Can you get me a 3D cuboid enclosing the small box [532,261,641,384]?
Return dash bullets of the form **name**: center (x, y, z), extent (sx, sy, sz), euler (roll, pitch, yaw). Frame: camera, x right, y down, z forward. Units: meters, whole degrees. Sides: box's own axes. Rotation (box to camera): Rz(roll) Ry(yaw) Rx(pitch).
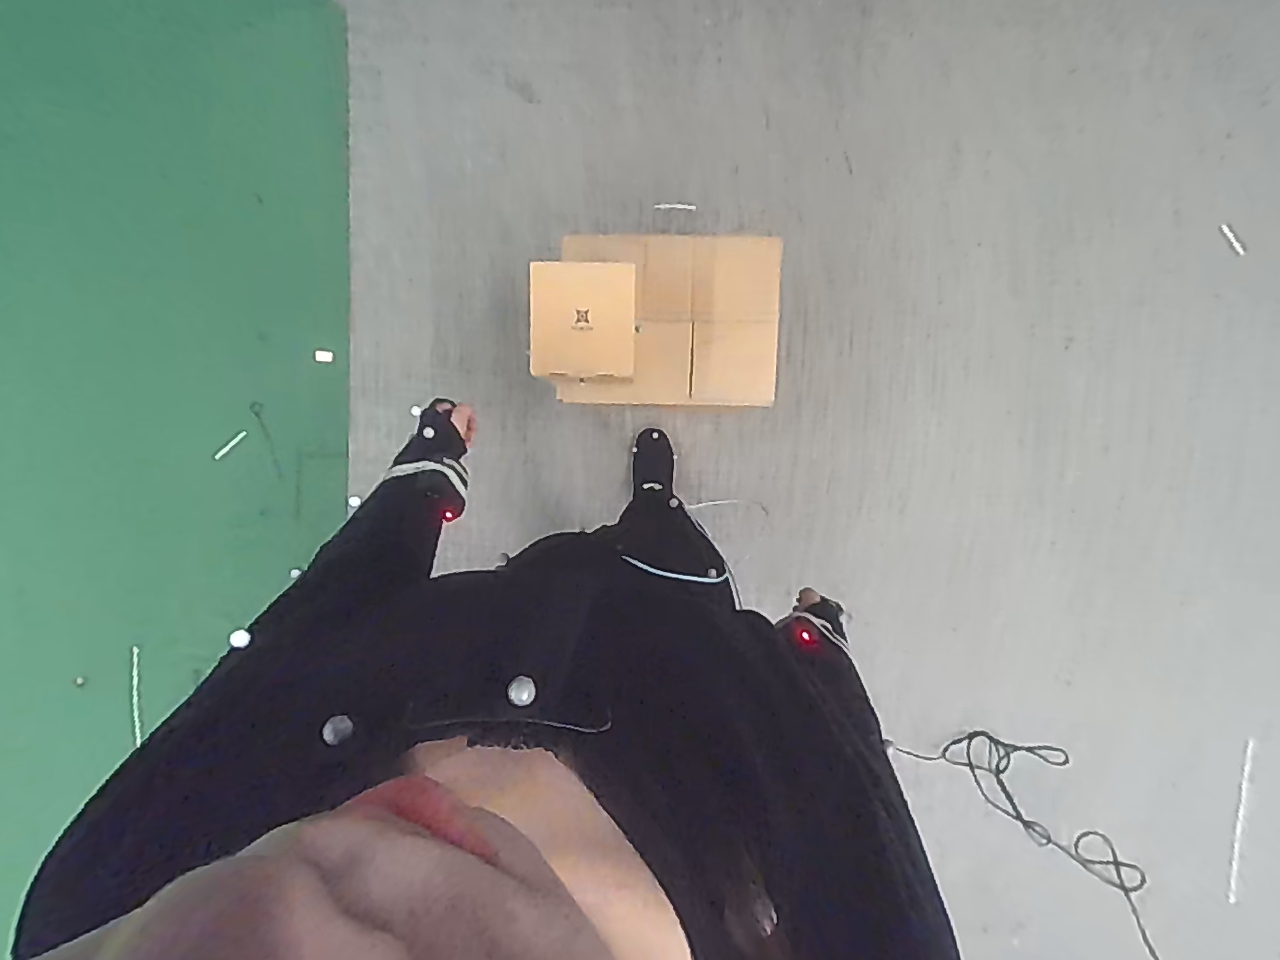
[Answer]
- **small box**: center (-0.085, -0.260, 0.923), extent (0.168, 0.176, 0.179), euler (2, 98, 1)
